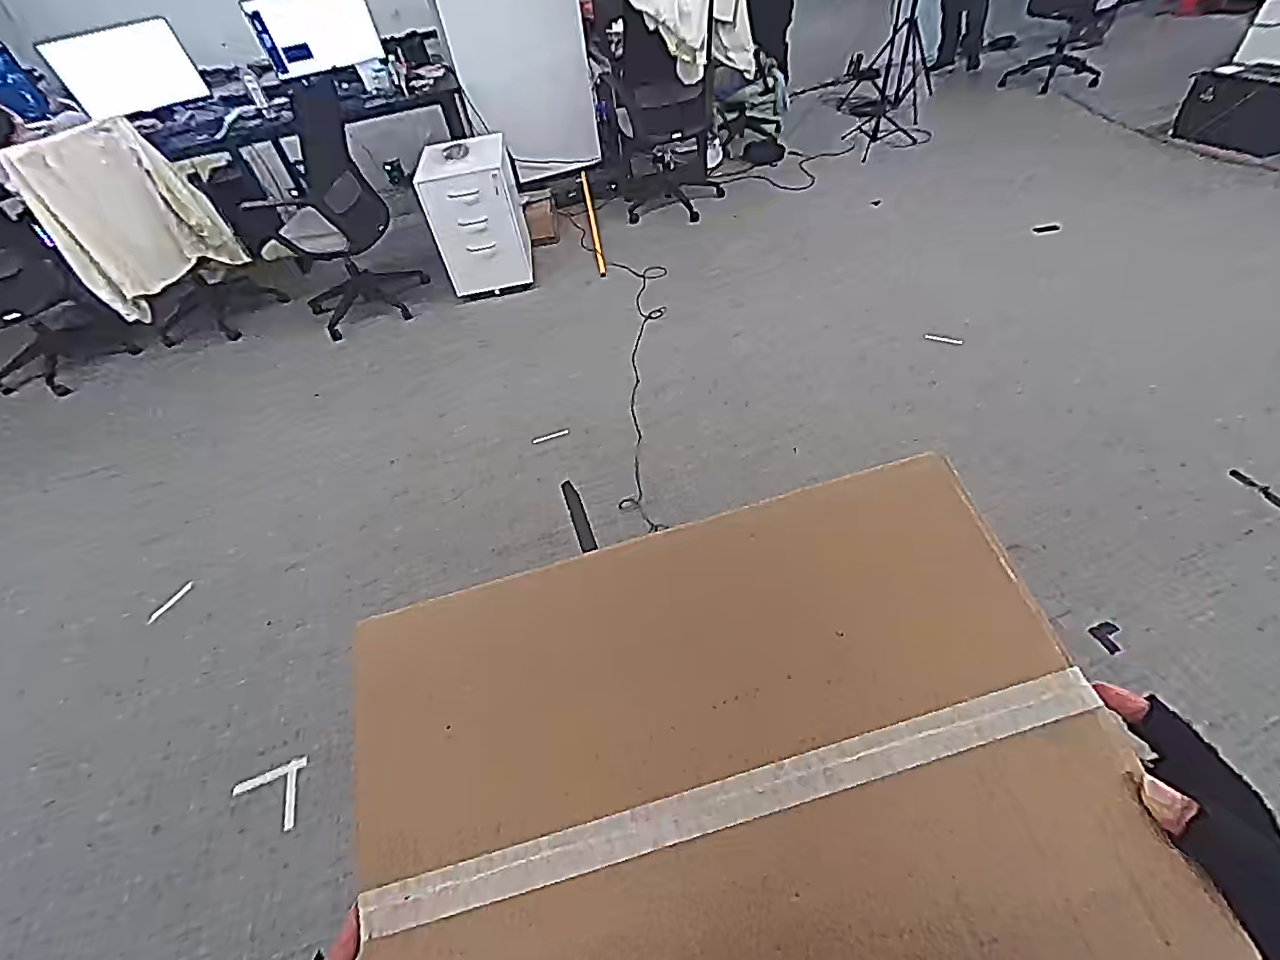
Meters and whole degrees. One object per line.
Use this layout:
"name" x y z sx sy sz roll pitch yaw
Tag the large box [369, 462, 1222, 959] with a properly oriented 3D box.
"large box" 0.064 0.236 0.435 0.408 0.320 0.320 -17 62 -1
